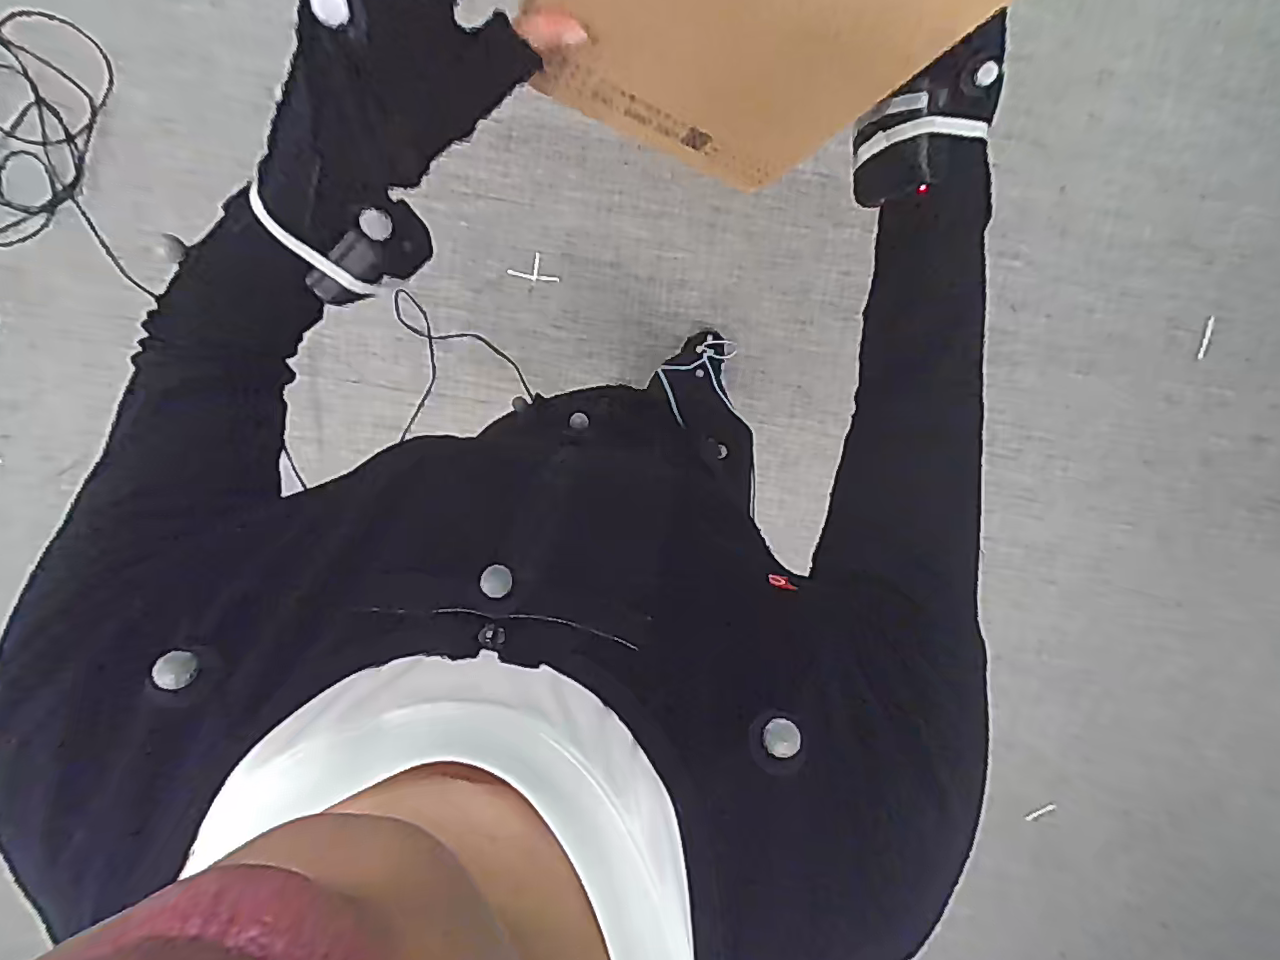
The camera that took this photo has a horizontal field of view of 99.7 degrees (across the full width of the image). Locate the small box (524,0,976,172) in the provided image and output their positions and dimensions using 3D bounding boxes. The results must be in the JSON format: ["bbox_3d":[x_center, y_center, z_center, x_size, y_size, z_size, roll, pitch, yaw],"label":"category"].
[{"bbox_3d":[0.053,-0.297,0.257,0.168,0.176,0.179,10,84,-26],"label":"small box"}]
